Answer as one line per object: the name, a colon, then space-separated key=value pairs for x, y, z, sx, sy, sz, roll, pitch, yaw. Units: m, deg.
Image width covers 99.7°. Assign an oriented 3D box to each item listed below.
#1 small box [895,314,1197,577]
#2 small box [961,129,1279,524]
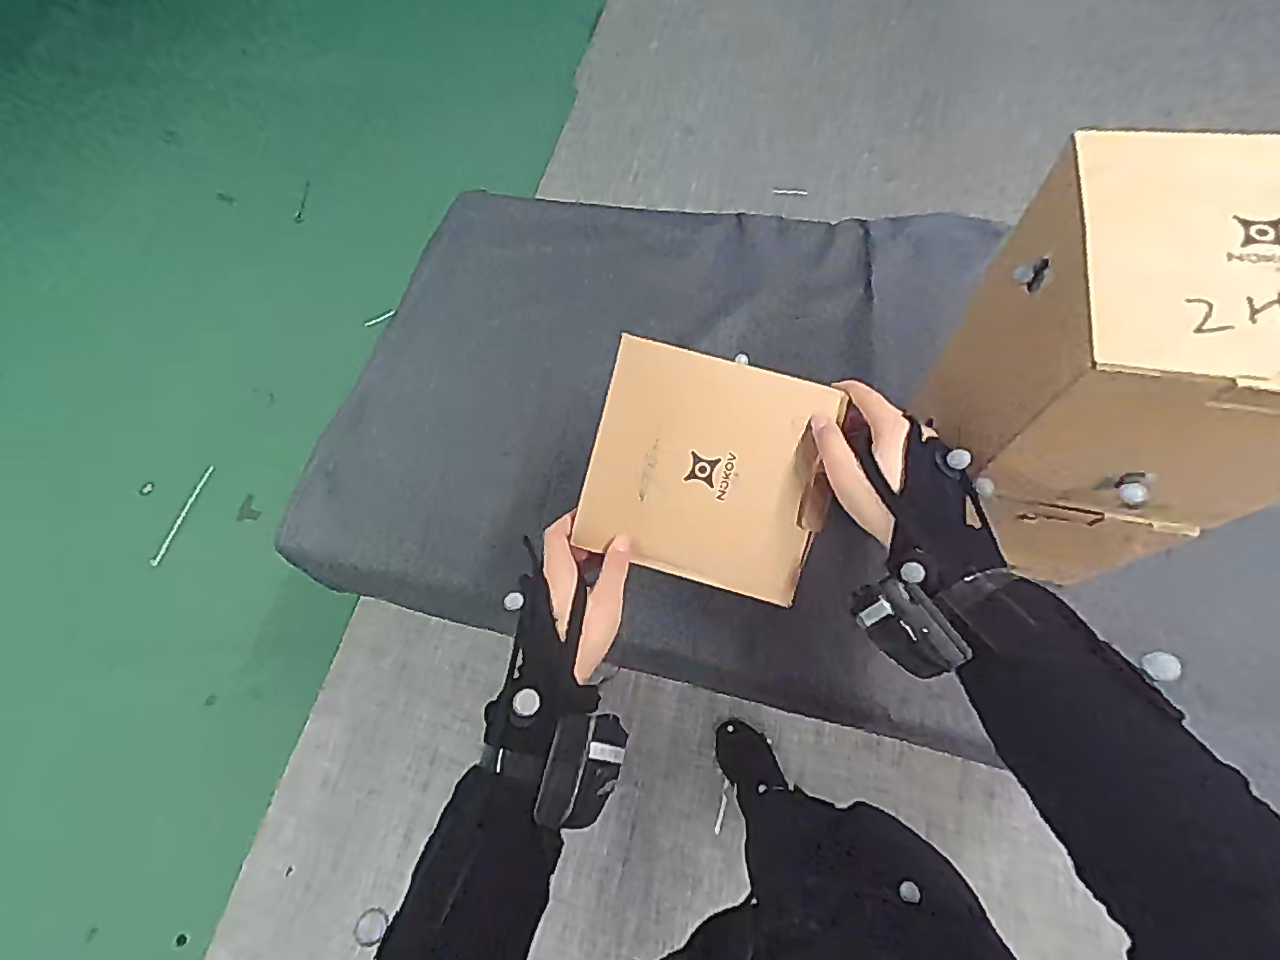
small box: x=0.352 y=-0.023 z=0.503 sx=0.168 sy=0.176 sz=0.179 roll=12 pitch=69 yaw=13
small box: x=0.330 y=-0.090 z=0.354 sx=0.168 sy=0.176 sz=0.179 roll=9 pitch=69 yaw=13
